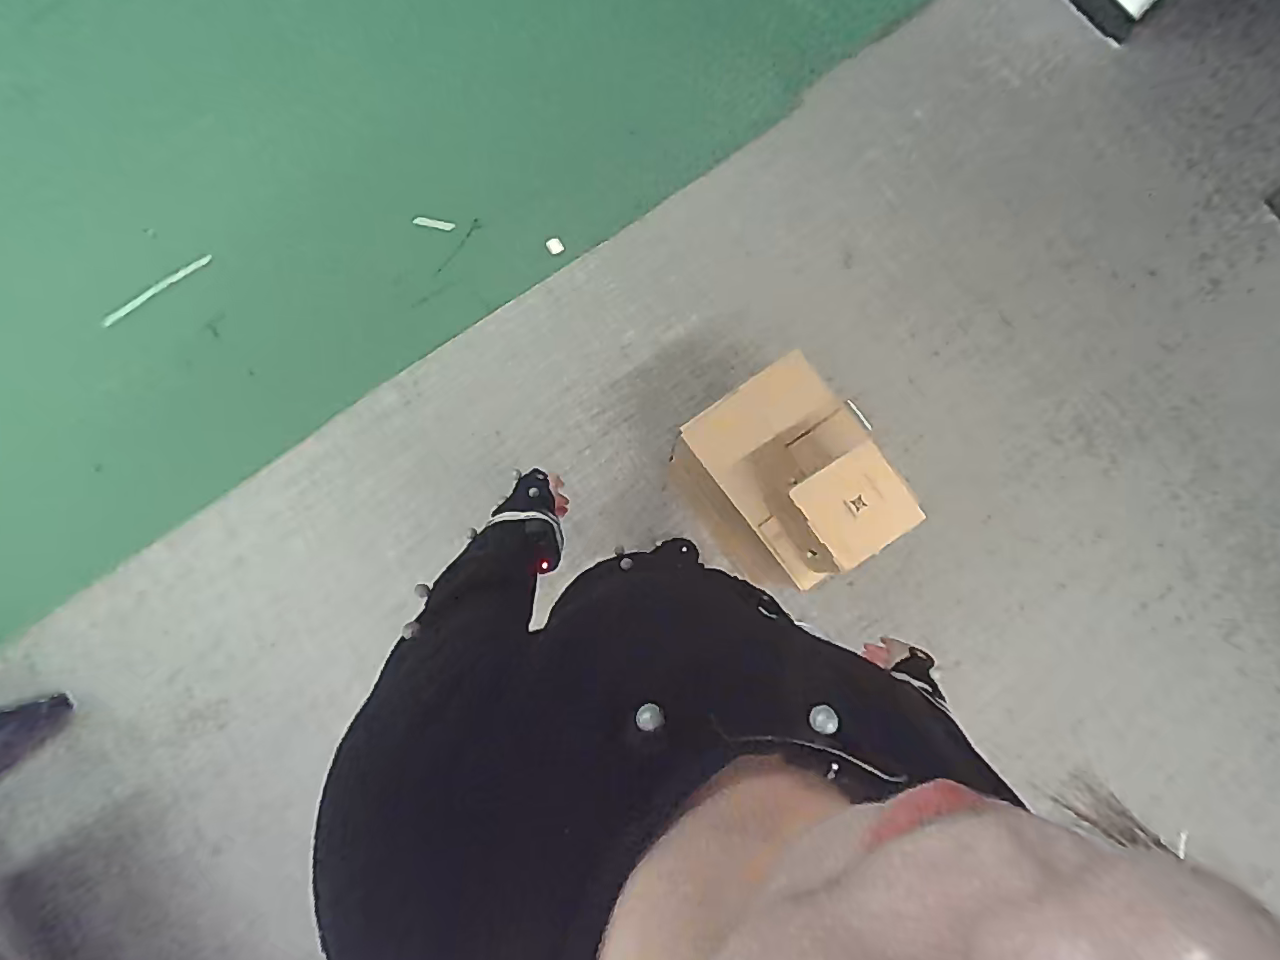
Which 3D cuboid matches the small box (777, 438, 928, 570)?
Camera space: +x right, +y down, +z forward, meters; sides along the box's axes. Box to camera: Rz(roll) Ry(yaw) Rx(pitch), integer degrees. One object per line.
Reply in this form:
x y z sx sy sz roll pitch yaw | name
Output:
0.368 0.053 0.984 0.179 0.176 0.168 -32 82 -5 | small box
